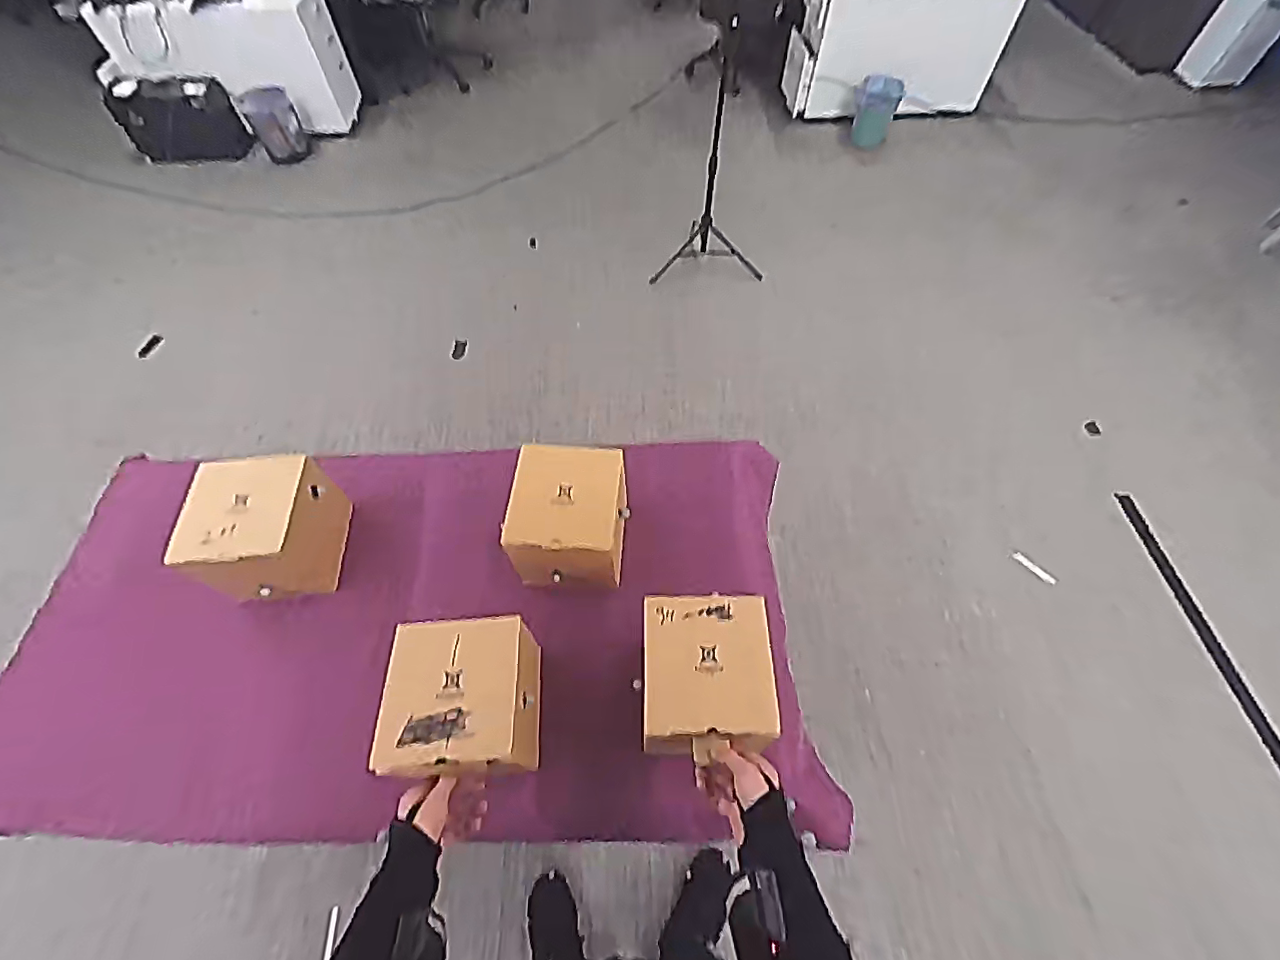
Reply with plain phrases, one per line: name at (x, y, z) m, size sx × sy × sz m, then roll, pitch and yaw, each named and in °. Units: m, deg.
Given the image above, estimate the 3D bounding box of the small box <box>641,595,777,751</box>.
small box at (0.088, 0.274, 0.756) m, size 0.168 × 0.176 × 0.179 m, roll 1°, pitch 56°, yaw 1°

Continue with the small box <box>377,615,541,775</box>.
small box at (-0.231, 0.301, 0.744) m, size 0.168 × 0.176 × 0.179 m, roll -4°, pitch 57°, yaw -2°

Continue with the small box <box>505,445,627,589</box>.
small box at (-0.111, 0.064, 0.897) m, size 0.168 × 0.176 × 0.179 m, roll 3°, pitch 59°, yaw 3°

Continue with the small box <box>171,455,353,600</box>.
small box at (-0.599, 0.081, 0.889) m, size 0.168 × 0.176 × 0.179 m, roll -5°, pitch 58°, yaw -2°
